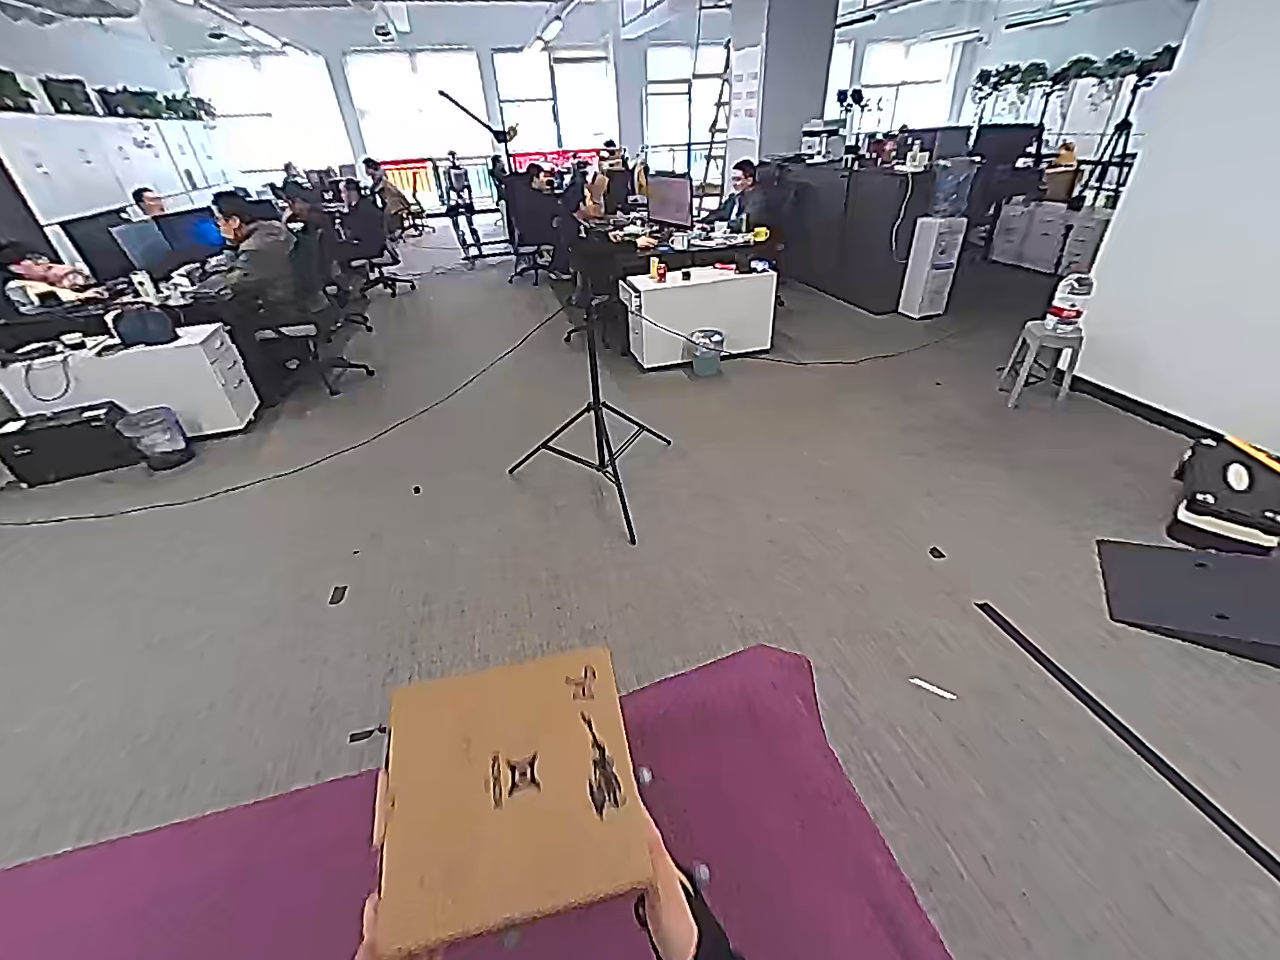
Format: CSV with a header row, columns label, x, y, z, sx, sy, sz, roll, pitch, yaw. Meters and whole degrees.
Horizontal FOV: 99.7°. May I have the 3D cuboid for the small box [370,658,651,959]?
label,x,y,z,sx,sy,sz,roll,pitch,yaw
small box,-0.095,0.272,0.442,0.179,0.176,0.168,-9,51,-10
